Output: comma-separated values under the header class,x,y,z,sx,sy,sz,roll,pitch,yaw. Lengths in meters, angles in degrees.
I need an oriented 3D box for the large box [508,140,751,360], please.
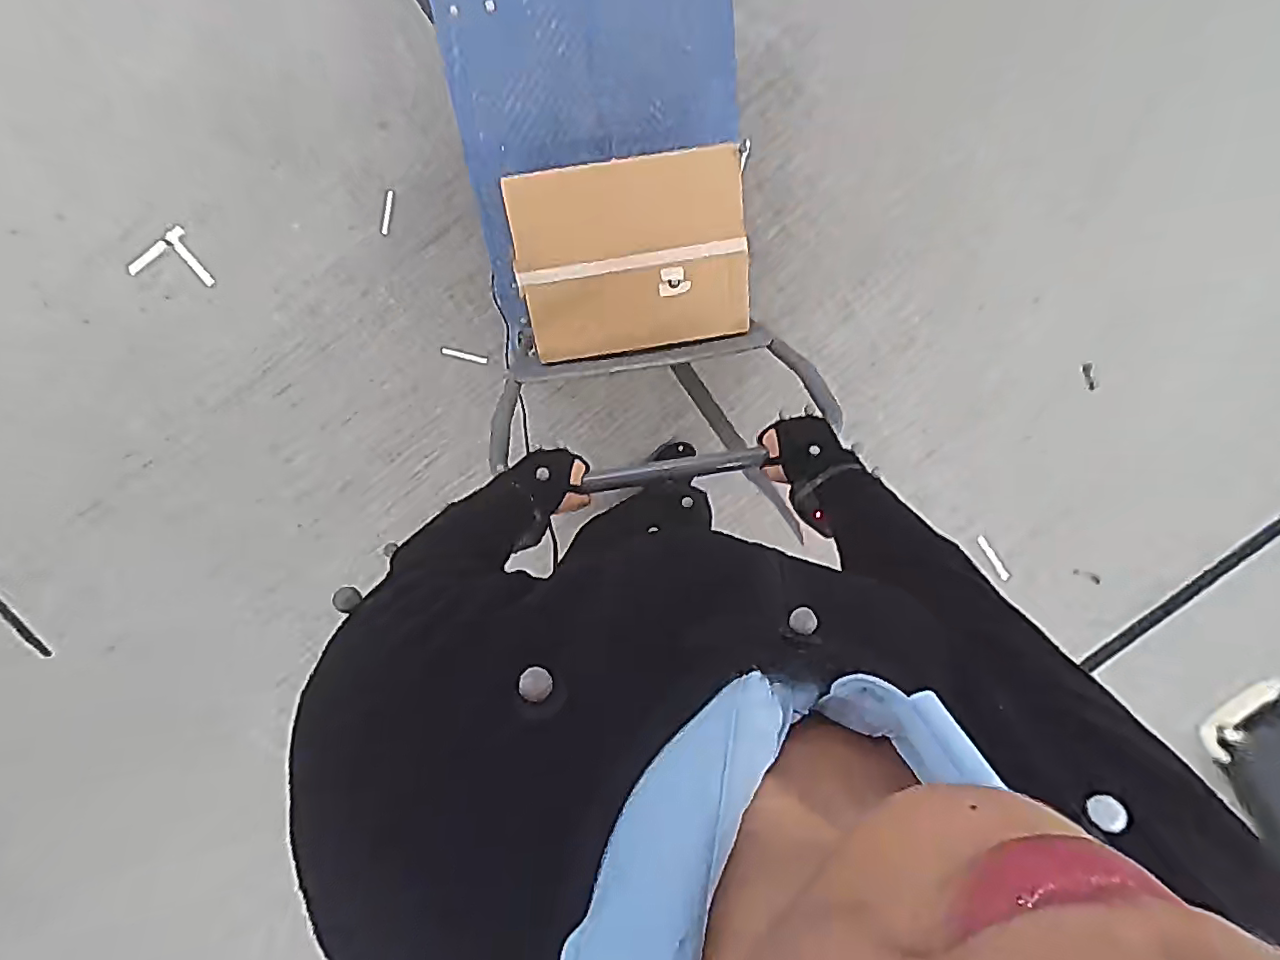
class,x,y,z,sx,sy,sz,roll,pitch,yaw
large box,-0.021,-0.461,1.106,0.408,0.320,0.320,-10,116,-1
